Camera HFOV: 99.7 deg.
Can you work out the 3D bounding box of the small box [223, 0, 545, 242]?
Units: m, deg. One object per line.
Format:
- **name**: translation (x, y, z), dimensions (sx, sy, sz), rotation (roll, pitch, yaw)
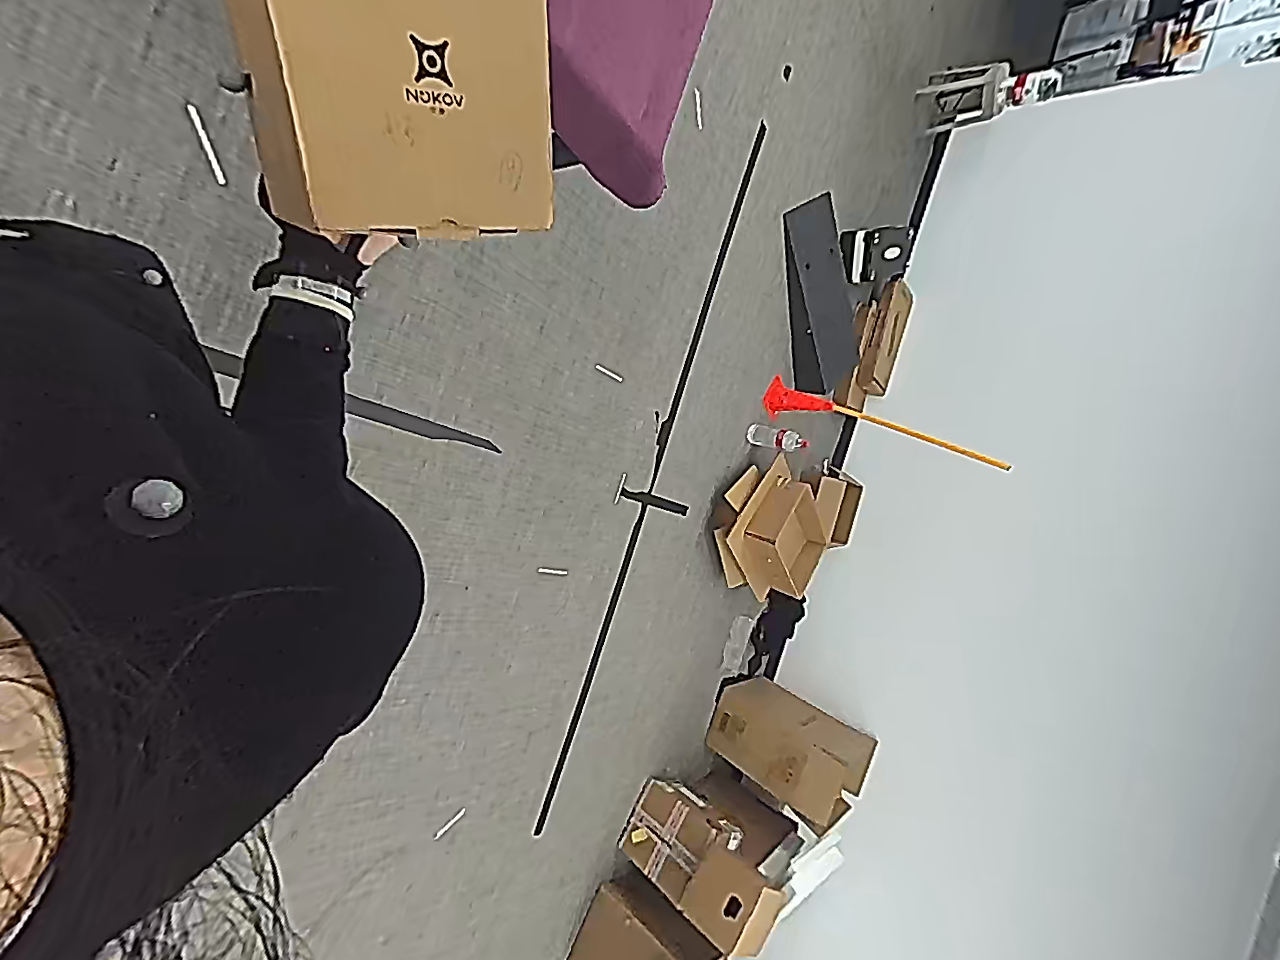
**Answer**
- **small box**: translation (-0.183, -0.280, 0.396), dimensions (0.168, 0.176, 0.179), rotation (-19, 126, -35)
